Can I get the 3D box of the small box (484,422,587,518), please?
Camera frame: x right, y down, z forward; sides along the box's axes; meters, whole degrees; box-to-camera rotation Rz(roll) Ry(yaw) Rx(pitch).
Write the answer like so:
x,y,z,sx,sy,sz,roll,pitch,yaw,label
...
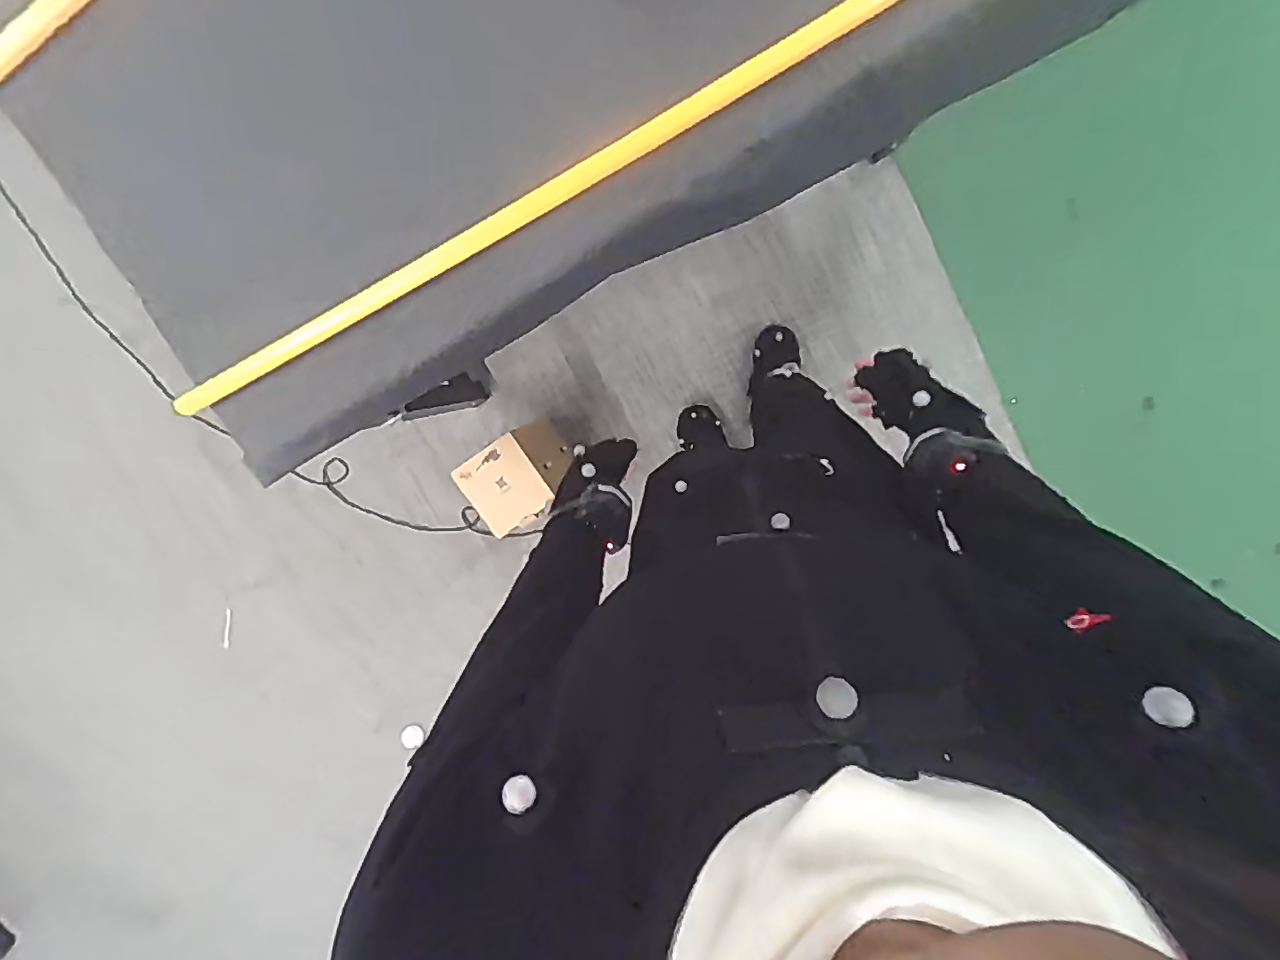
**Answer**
x,y,z,sx,sy,sz,roll,pitch,yaw,label
-0.258,-0.035,1.374,0.168,0.176,0.179,-35,97,12,small box
